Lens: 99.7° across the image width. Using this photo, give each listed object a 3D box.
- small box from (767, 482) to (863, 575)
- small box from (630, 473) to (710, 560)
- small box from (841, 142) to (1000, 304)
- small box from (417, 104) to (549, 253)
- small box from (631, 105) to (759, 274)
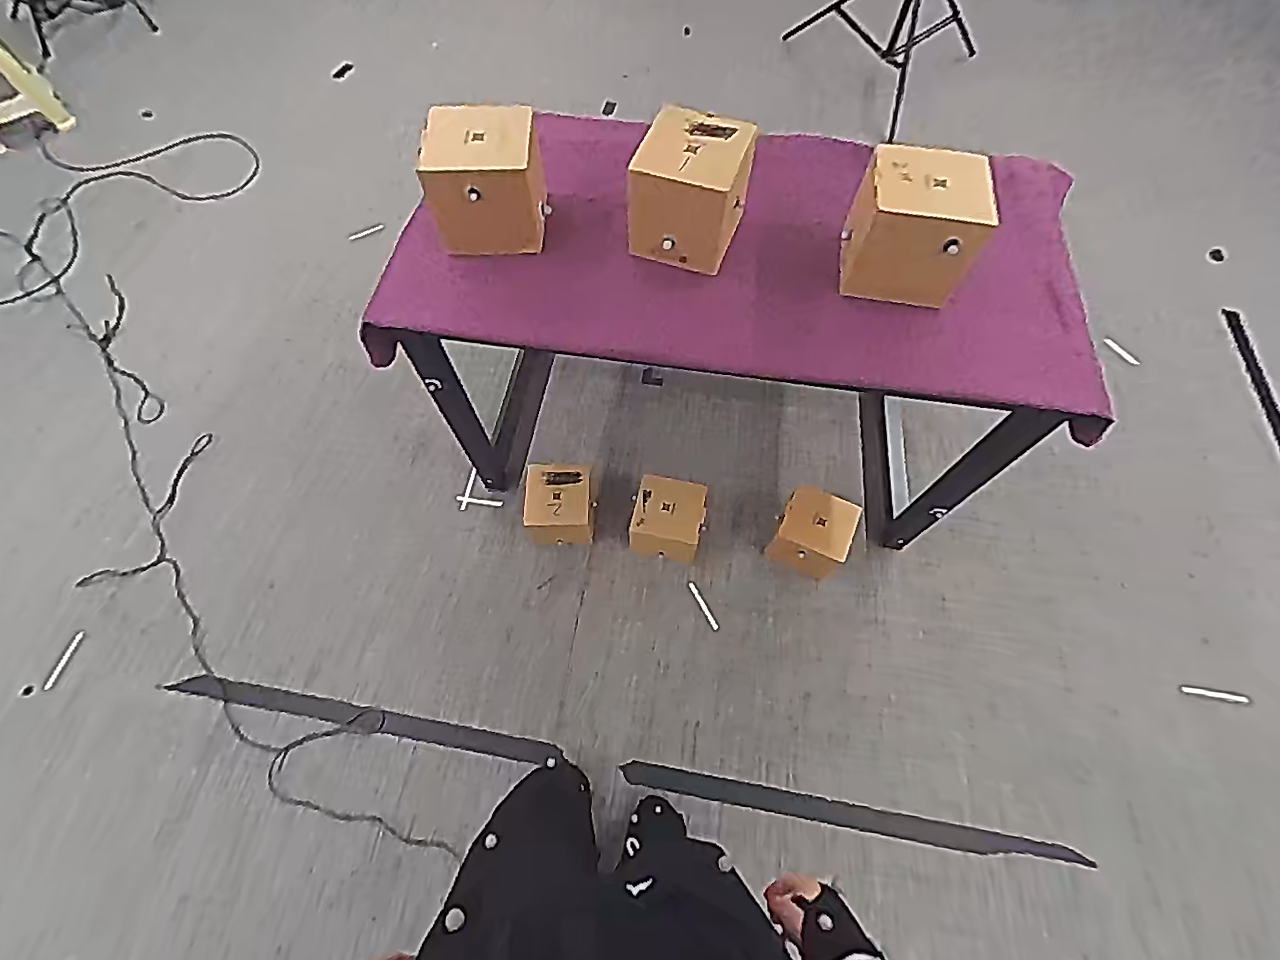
[{"bbox_3d":[0.457,0.136,1.433,0.179,0.176,0.168,23,67,13],"label":"small box"},{"bbox_3d":[0.078,0.105,1.448,0.179,0.176,0.168,12,65,6],"label":"small box"},{"bbox_3d":[0.448,-0.413,0.886,0.179,0.176,0.168,10,64,5],"label":"small box"},{"bbox_3d":[-0.262,-0.517,0.942,0.179,0.176,0.168,-2,65,-2],"label":"small box"},{"bbox_3d":[0.089,-0.492,0.927,0.168,0.176,0.179,19,66,9],"label":"small box"}]
